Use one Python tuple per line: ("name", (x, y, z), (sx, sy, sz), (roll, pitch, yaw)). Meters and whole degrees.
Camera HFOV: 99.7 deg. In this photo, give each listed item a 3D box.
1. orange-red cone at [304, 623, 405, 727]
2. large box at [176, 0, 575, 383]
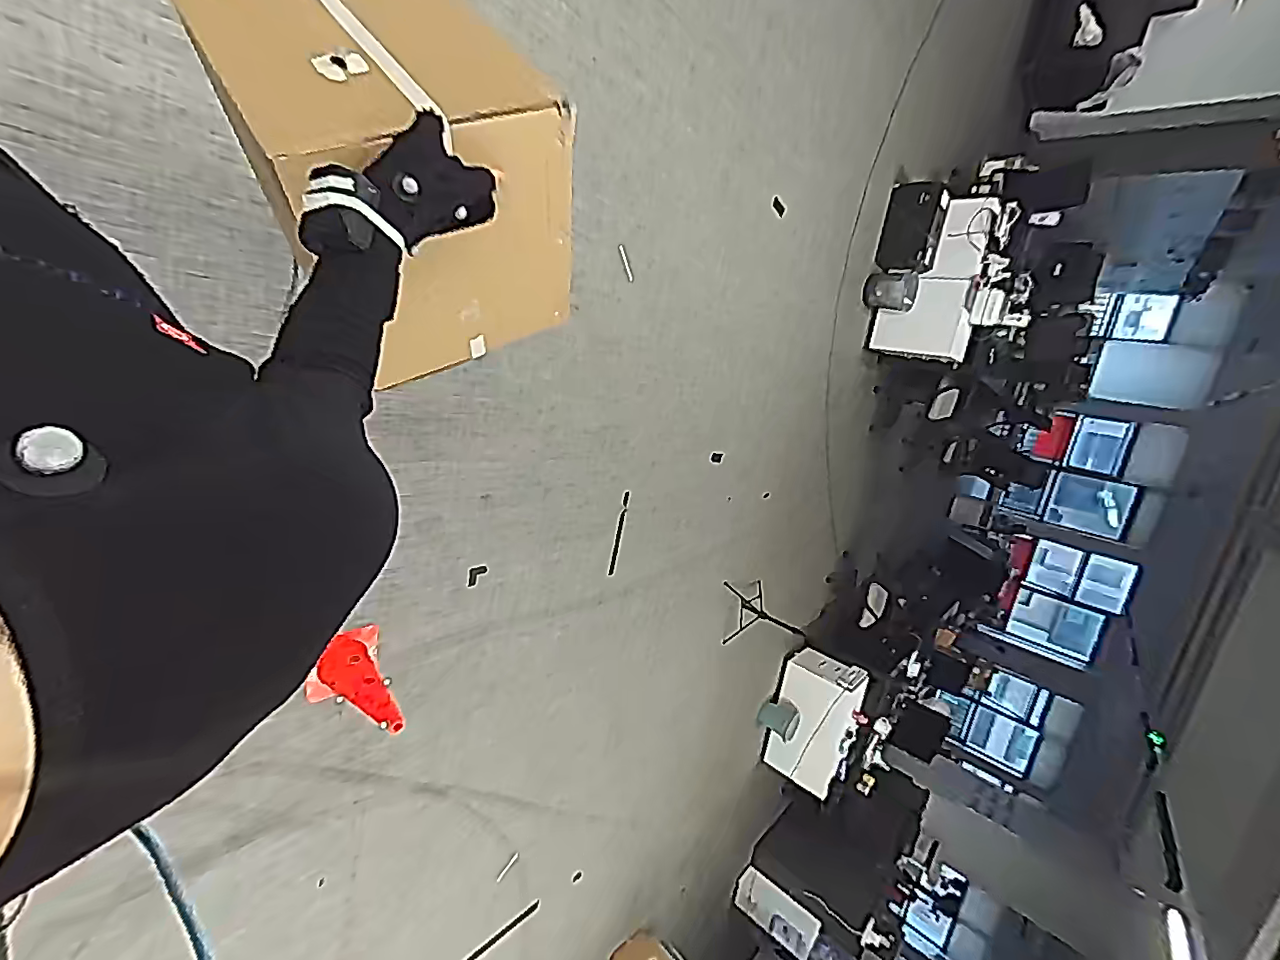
("orange-red cone", (-0.759, 0.578, 1.501), (0.198, 0.360, 0.199), (-8, 111, -50))
("large box", (-0.334, -0.411, 0.740), (0.320, 0.408, 0.320), (-26, 157, -24))
